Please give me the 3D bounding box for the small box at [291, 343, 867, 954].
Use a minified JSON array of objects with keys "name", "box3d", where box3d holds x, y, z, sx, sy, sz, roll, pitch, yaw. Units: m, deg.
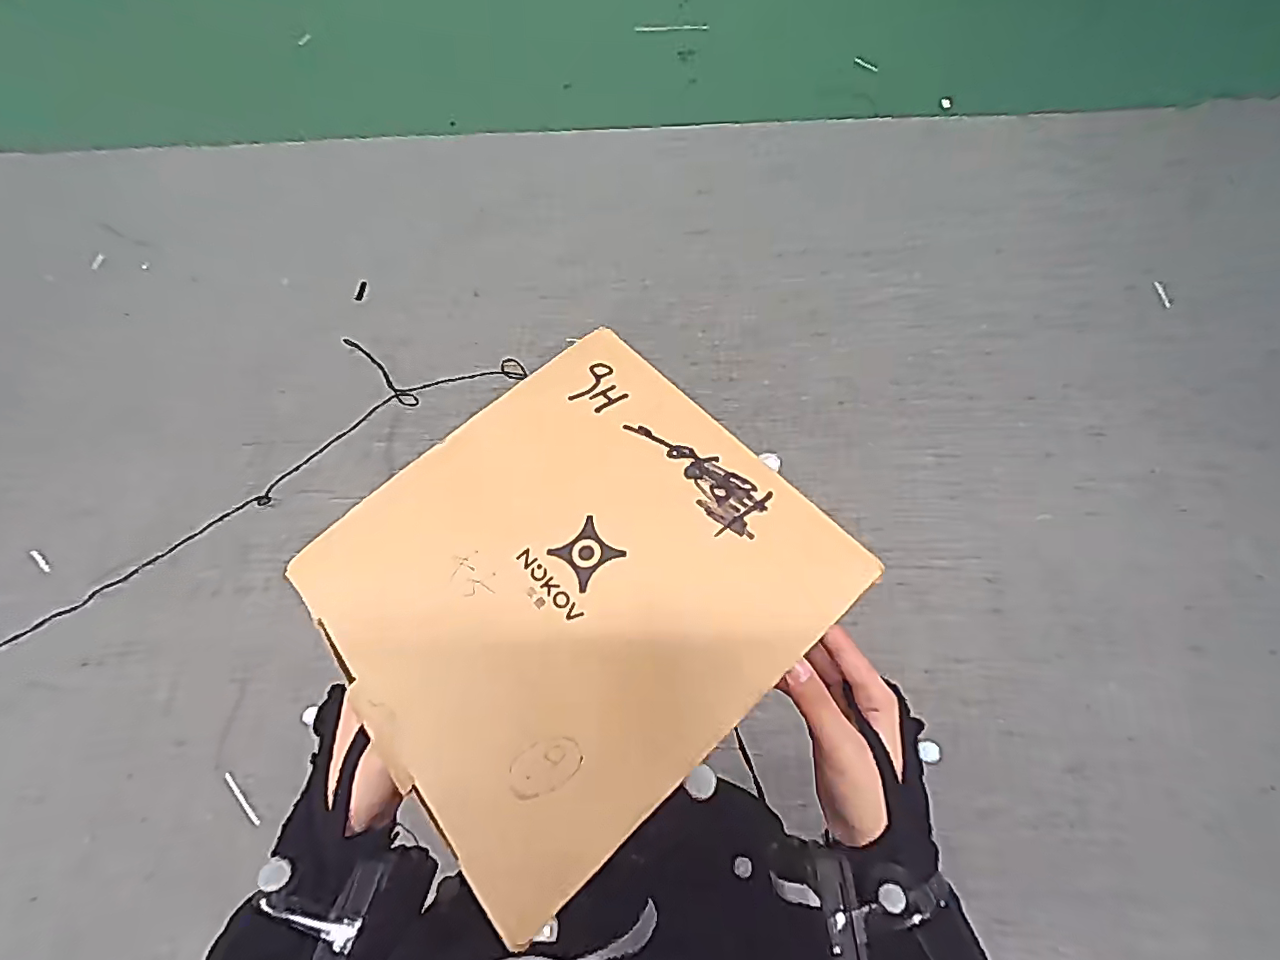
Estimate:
[{"name":"small box","box3d":[-0.022,0.073,0.282,0.179,0.176,0.168,-40,67,-12]}]
